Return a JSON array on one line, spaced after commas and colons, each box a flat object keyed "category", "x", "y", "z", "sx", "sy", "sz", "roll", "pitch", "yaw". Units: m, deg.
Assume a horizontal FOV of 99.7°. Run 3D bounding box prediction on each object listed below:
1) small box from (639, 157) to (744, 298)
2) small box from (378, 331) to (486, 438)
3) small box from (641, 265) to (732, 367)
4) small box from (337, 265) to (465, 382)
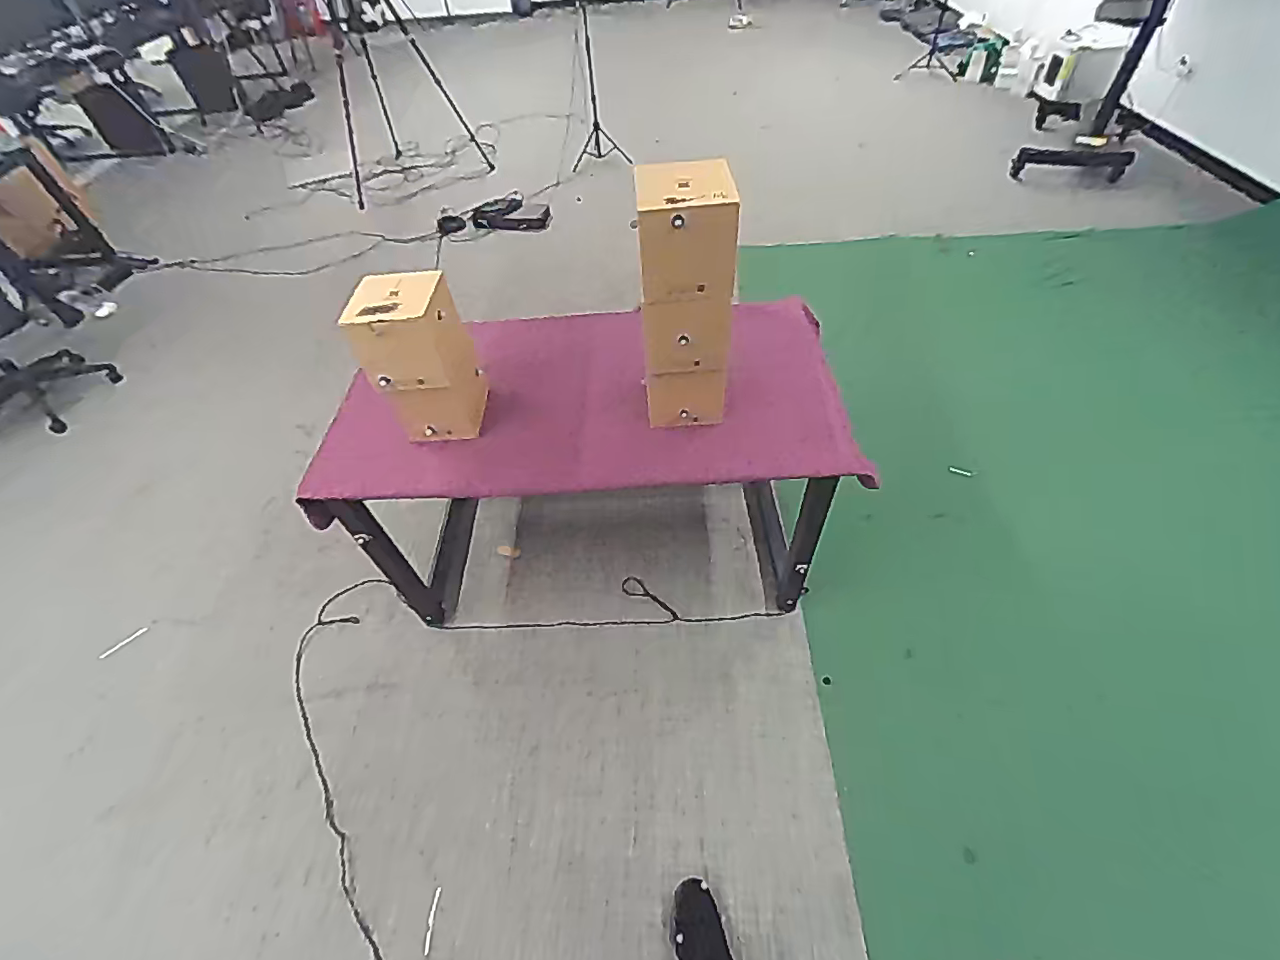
[{"category": "small box", "x": 0.084, "y": -0.444, "z": 0.955, "sx": 0.168, "sy": 0.176, "sz": 0.179, "roll": -4, "pitch": 50, "yaw": 2}, {"category": "small box", "x": -0.461, "y": -0.216, "z": 1.233, "sx": 0.168, "sy": 0.176, "sz": 0.179, "roll": -3, "pitch": 51, "yaw": 2}, {"category": "small box", "x": 0.090, "y": -0.339, "z": 1.081, "sx": 0.168, "sy": 0.176, "sz": 0.179, "roll": -2, "pitch": 50, "yaw": 2}, {"category": "small box", "x": -0.472, "y": -0.313, "z": 1.101, "sx": 0.168, "sy": 0.176, "sz": 0.179, "roll": -3, "pitch": 49, "yaw": 2}]
